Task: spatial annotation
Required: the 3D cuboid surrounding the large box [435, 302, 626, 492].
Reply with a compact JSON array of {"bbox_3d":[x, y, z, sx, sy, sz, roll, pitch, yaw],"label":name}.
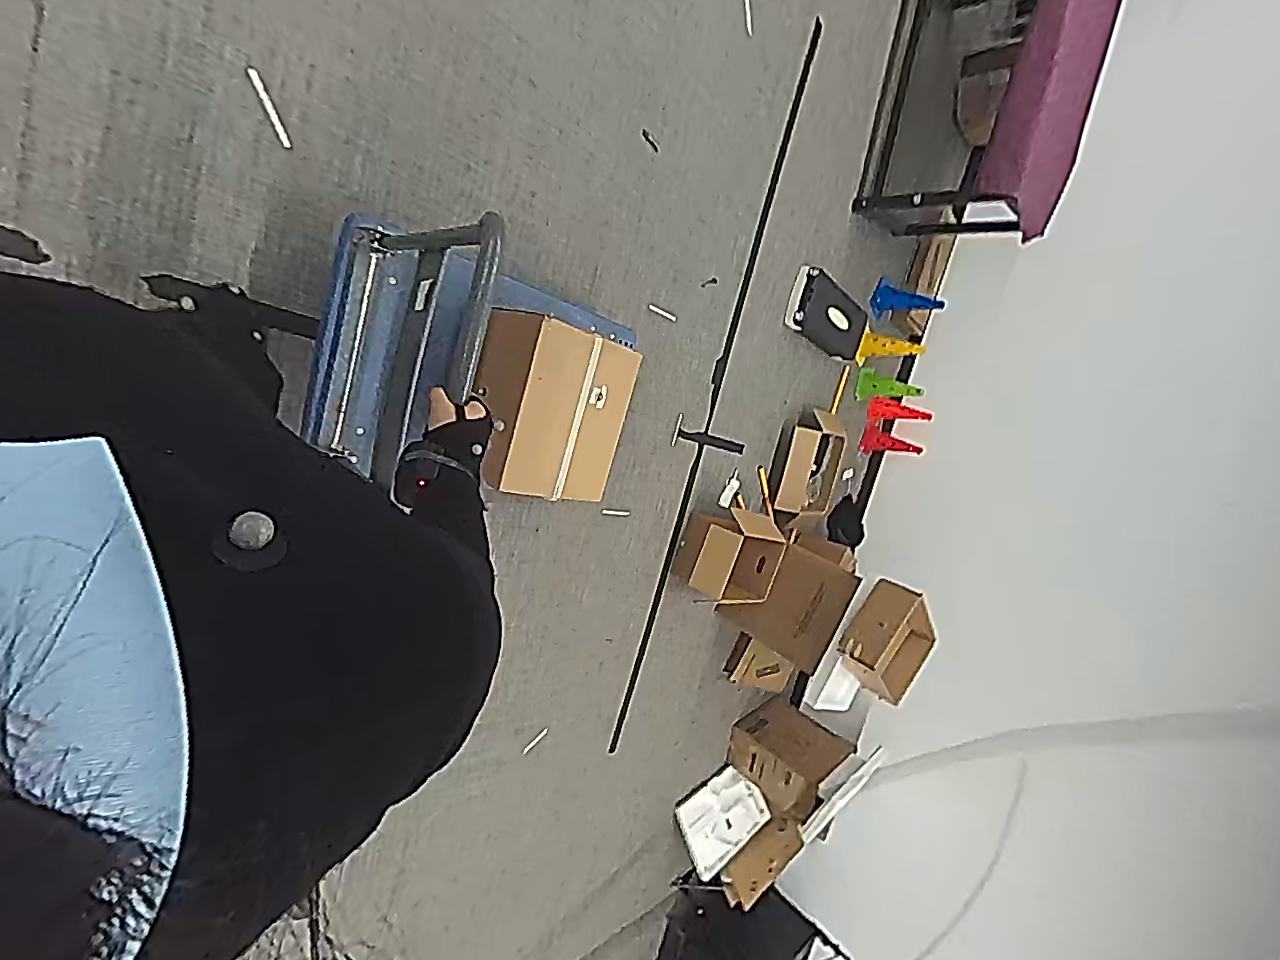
[{"bbox_3d":[-0.290,-0.210,1.402,0.320,0.320,0.408,9,99,-47],"label":"large box"}]
